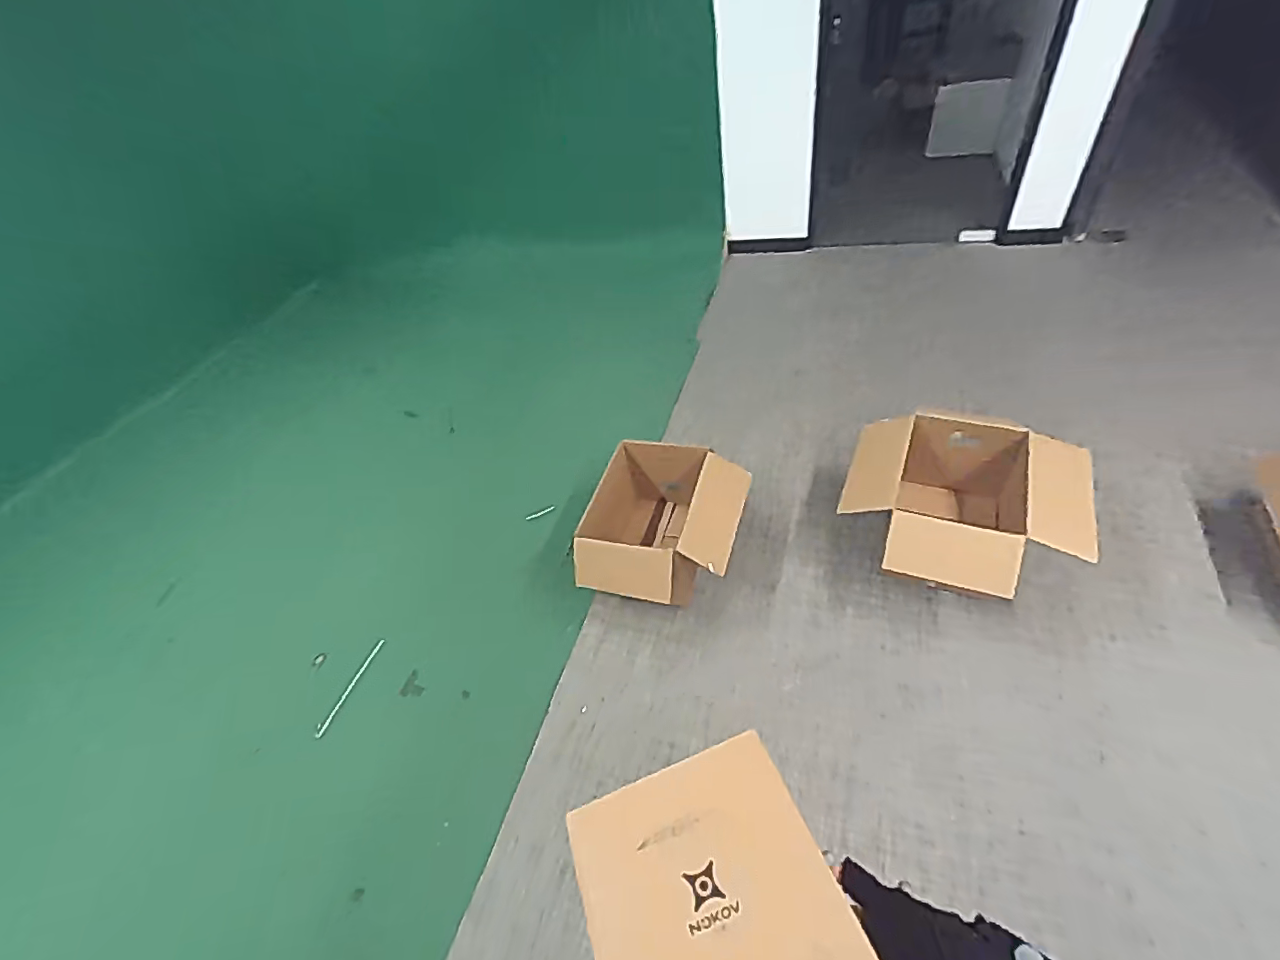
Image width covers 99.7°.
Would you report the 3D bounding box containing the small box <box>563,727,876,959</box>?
[{"bbox_3d":[0.058,0.334,0.410,0.168,0.176,0.179,-20,39,-9],"label":"small box"}]
